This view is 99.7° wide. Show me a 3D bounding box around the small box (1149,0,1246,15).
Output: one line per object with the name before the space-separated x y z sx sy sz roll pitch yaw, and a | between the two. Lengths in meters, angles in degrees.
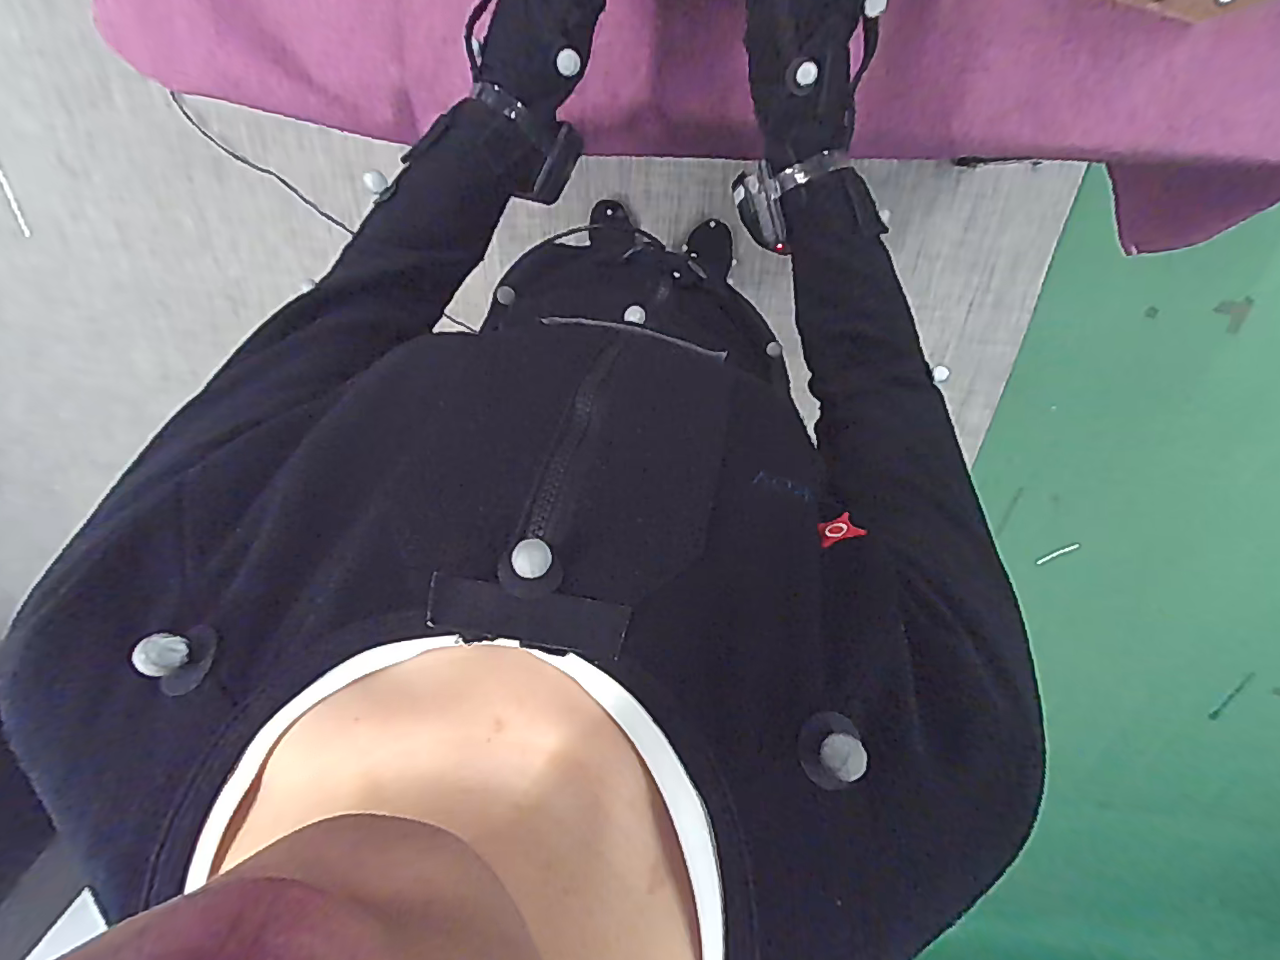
small box | 0.445 -0.470 0.377 0.168 0.176 0.179 14 118 -3
